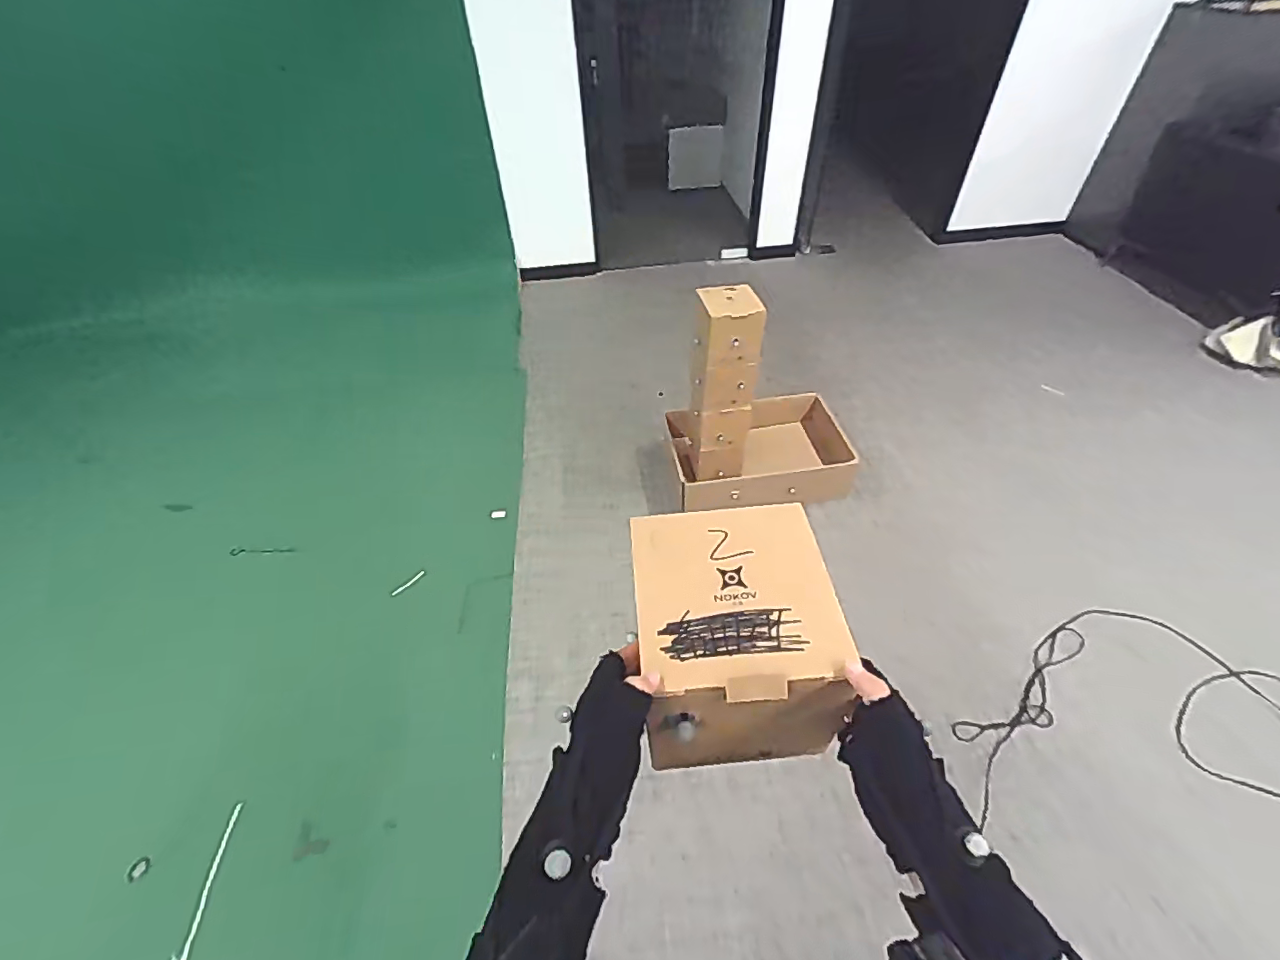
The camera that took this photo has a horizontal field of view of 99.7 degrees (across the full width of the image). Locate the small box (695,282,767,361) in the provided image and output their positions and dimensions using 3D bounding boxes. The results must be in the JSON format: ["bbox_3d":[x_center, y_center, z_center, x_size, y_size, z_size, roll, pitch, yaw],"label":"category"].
[{"bbox_3d":[0.266,-0.468,1.615,0.168,0.176,0.179,-7,46,-7],"label":"small box"}]

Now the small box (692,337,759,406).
[{"bbox_3d":[0.267,-0.350,1.729,0.168,0.176,0.179,-7,45,-7],"label":"small box"}]

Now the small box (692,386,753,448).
[{"bbox_3d":[0.274,-0.231,1.841,0.168,0.176,0.179,-6,46,-5],"label":"small box"}]

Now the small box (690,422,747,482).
[{"bbox_3d":[0.277,-0.115,1.955,0.168,0.176,0.179,-6,46,-4],"label":"small box"}]
